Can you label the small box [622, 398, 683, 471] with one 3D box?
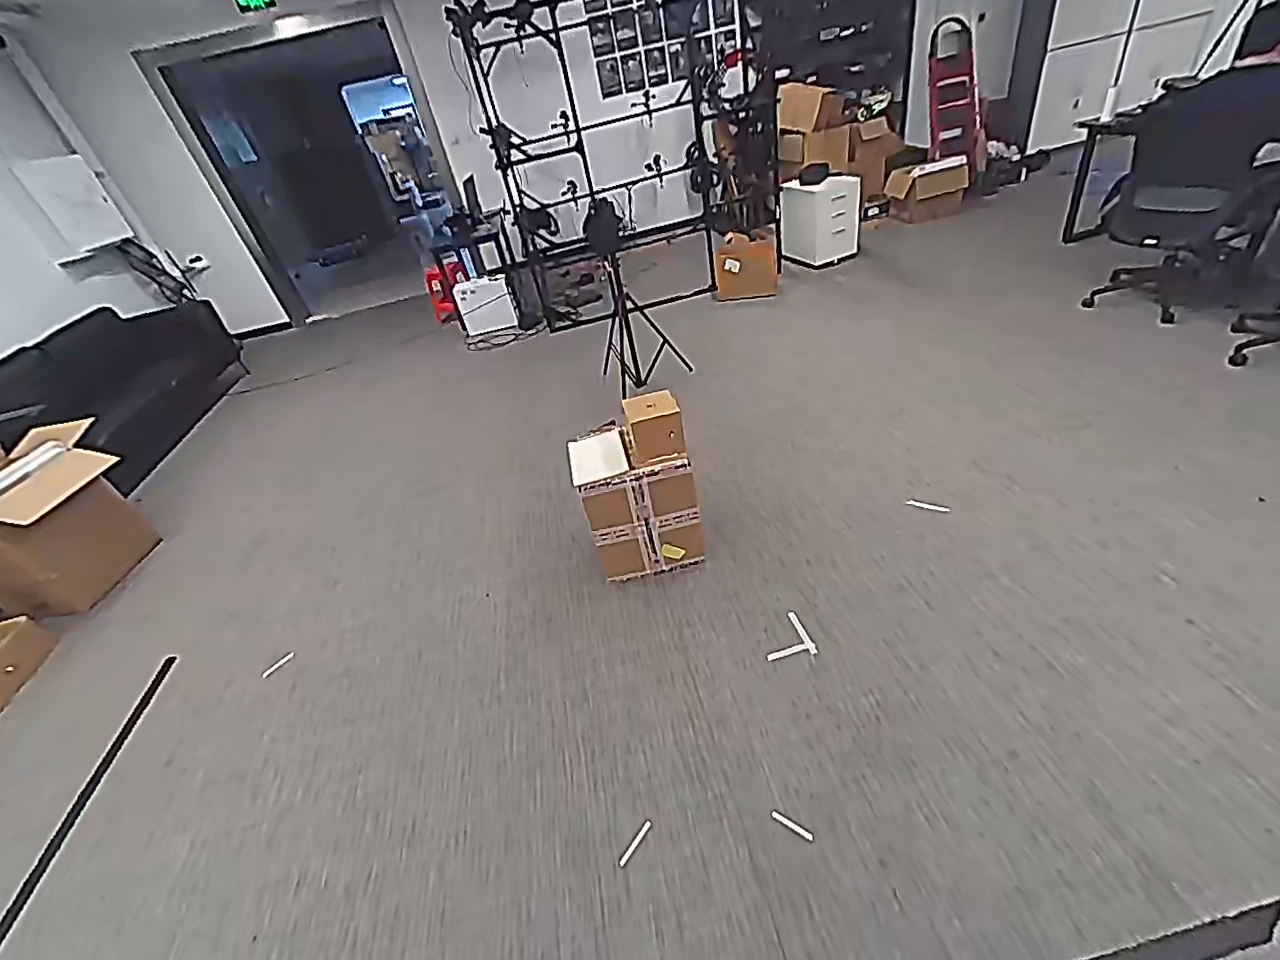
[{"bbox_3d":[0.047,-0.156,1.869,0.179,0.176,0.168,-15,37,-4],"label":"small box"}]
